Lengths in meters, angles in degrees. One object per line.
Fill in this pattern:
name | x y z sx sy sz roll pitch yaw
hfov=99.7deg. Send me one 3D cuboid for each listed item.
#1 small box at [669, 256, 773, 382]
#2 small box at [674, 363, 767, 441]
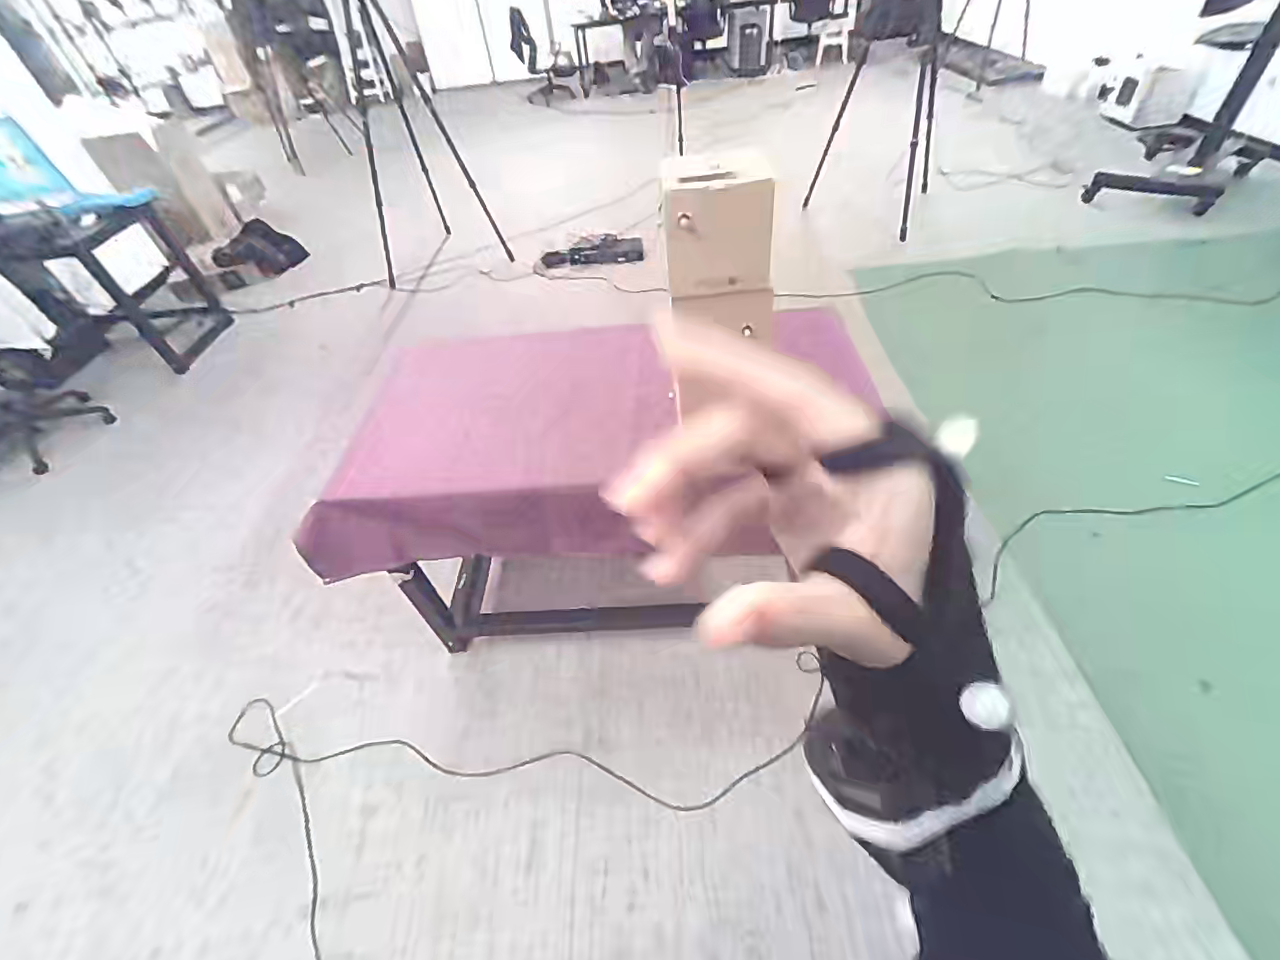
small box | 0.149 -0.306 1.038 0.179 0.176 0.168 -5 43 4
small box | 0.166 -0.203 1.164 0.179 0.176 0.168 -6 44 2
